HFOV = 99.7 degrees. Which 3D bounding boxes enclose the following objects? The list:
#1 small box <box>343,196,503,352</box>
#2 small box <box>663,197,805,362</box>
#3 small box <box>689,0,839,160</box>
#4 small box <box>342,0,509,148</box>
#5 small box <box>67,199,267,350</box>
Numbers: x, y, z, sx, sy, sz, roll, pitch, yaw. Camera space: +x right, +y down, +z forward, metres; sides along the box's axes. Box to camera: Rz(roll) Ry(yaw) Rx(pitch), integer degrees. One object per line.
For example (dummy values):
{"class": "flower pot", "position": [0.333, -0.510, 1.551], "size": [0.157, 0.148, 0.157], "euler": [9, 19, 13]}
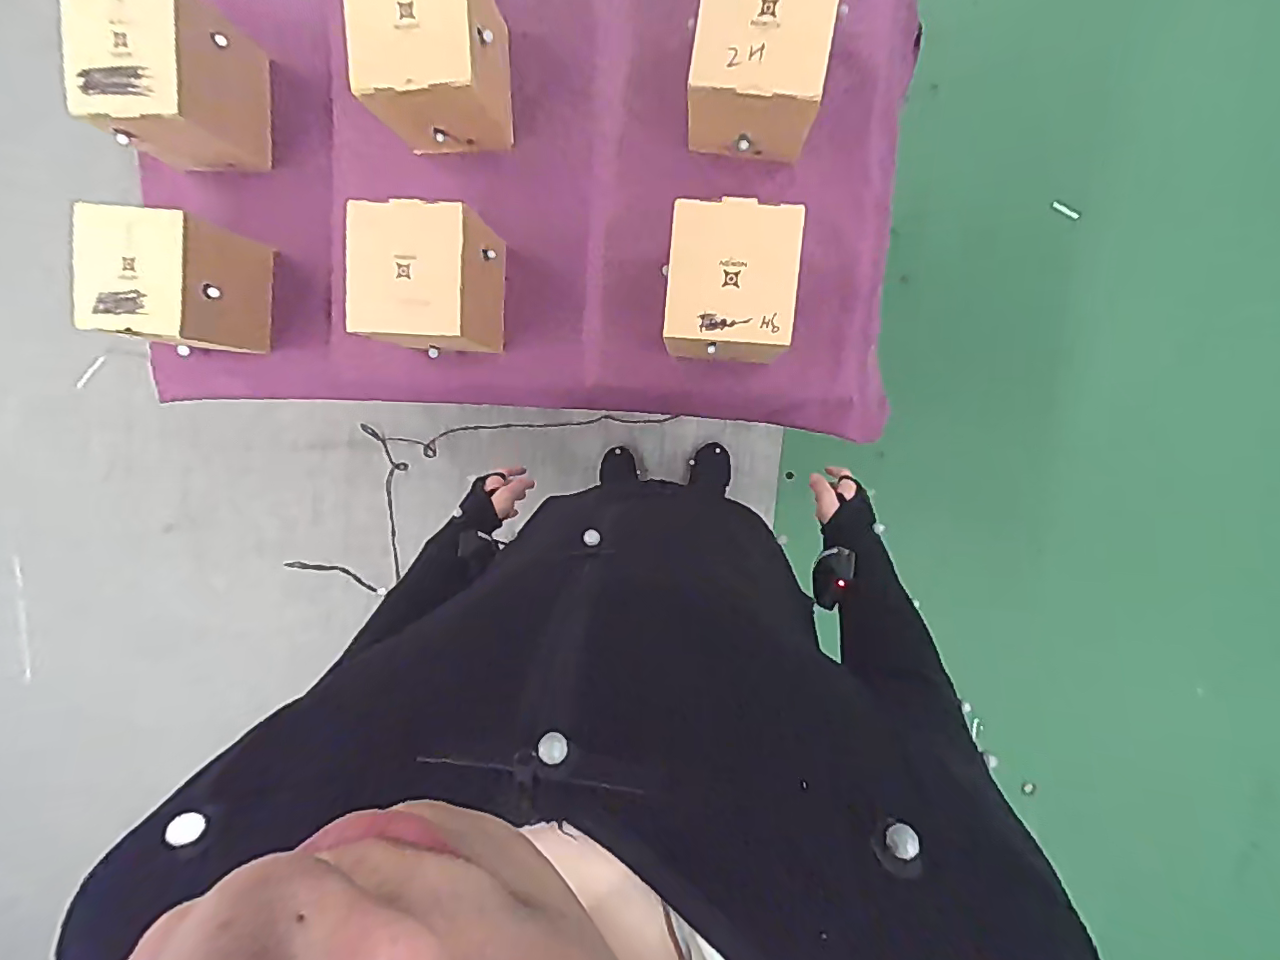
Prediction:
{"class": "small box", "position": [-0.310, -0.293, 0.800], "size": [0.168, 0.176, 0.179], "euler": [4, 97, 5]}
{"class": "small box", "position": [0.125, -0.272, 0.767], "size": [0.168, 0.176, 0.179], "euler": [6, 95, 5]}
{"class": "small box", "position": [0.158, -0.570, 0.728], "size": [0.168, 0.176, 0.179], "euler": [10, 99, 4]}
{"class": "small box", "position": [-0.292, -0.603, 0.762], "size": [0.168, 0.176, 0.179], "euler": [-1, 98, 4]}
{"class": "small box", "position": [-0.709, -0.301, 0.828], "size": [0.168, 0.176, 0.179], "euler": [6, 96, 3]}
